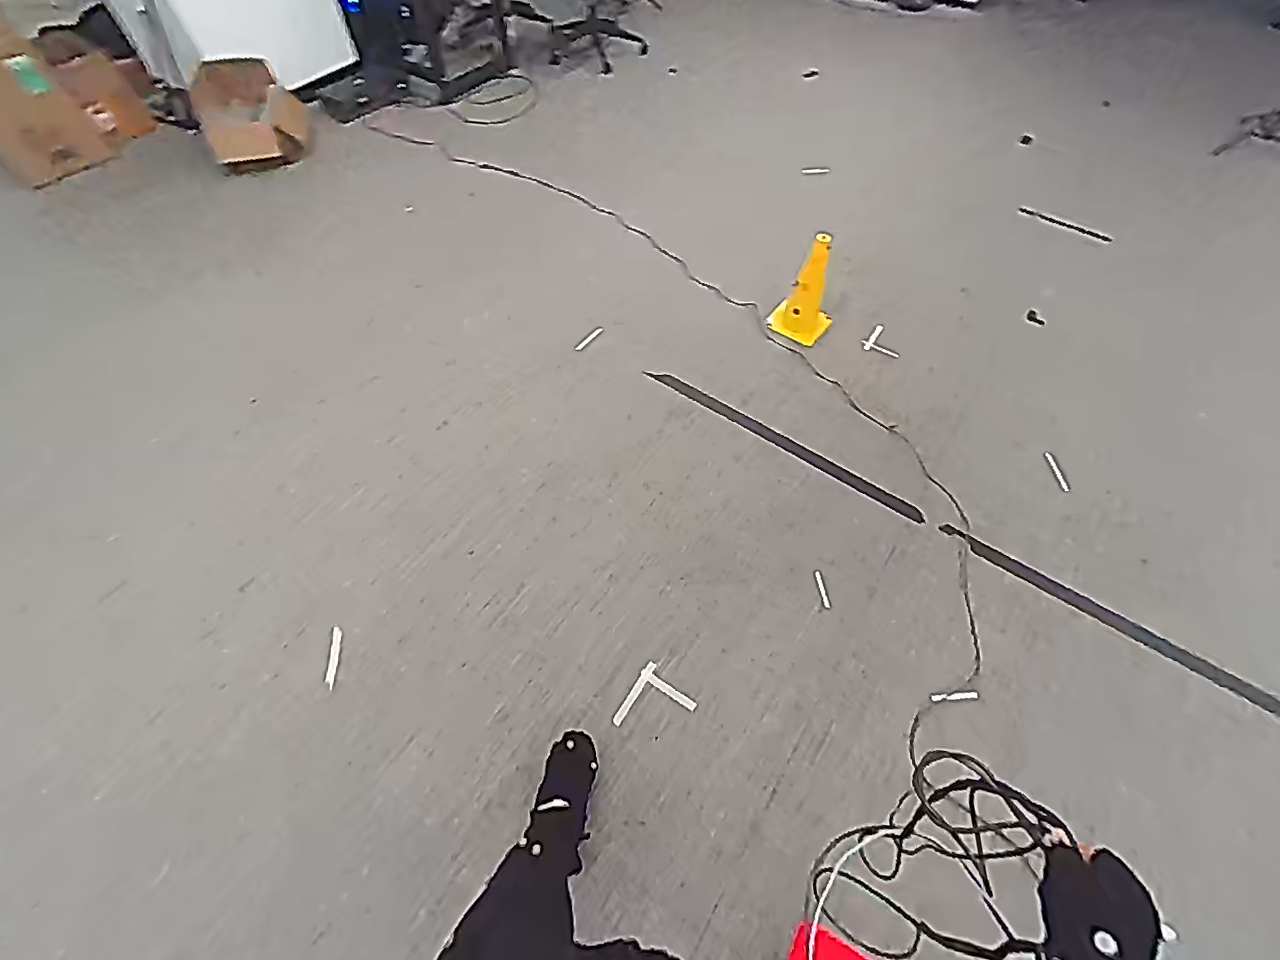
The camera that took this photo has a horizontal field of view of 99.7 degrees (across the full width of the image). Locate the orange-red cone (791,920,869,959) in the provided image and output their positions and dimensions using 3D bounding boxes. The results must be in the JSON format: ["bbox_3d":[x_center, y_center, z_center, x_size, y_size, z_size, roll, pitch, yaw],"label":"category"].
[{"bbox_3d":[0.369,0.906,0.885,0.199,0.360,0.198,28,62,16],"label":"orange-red cone"}]
